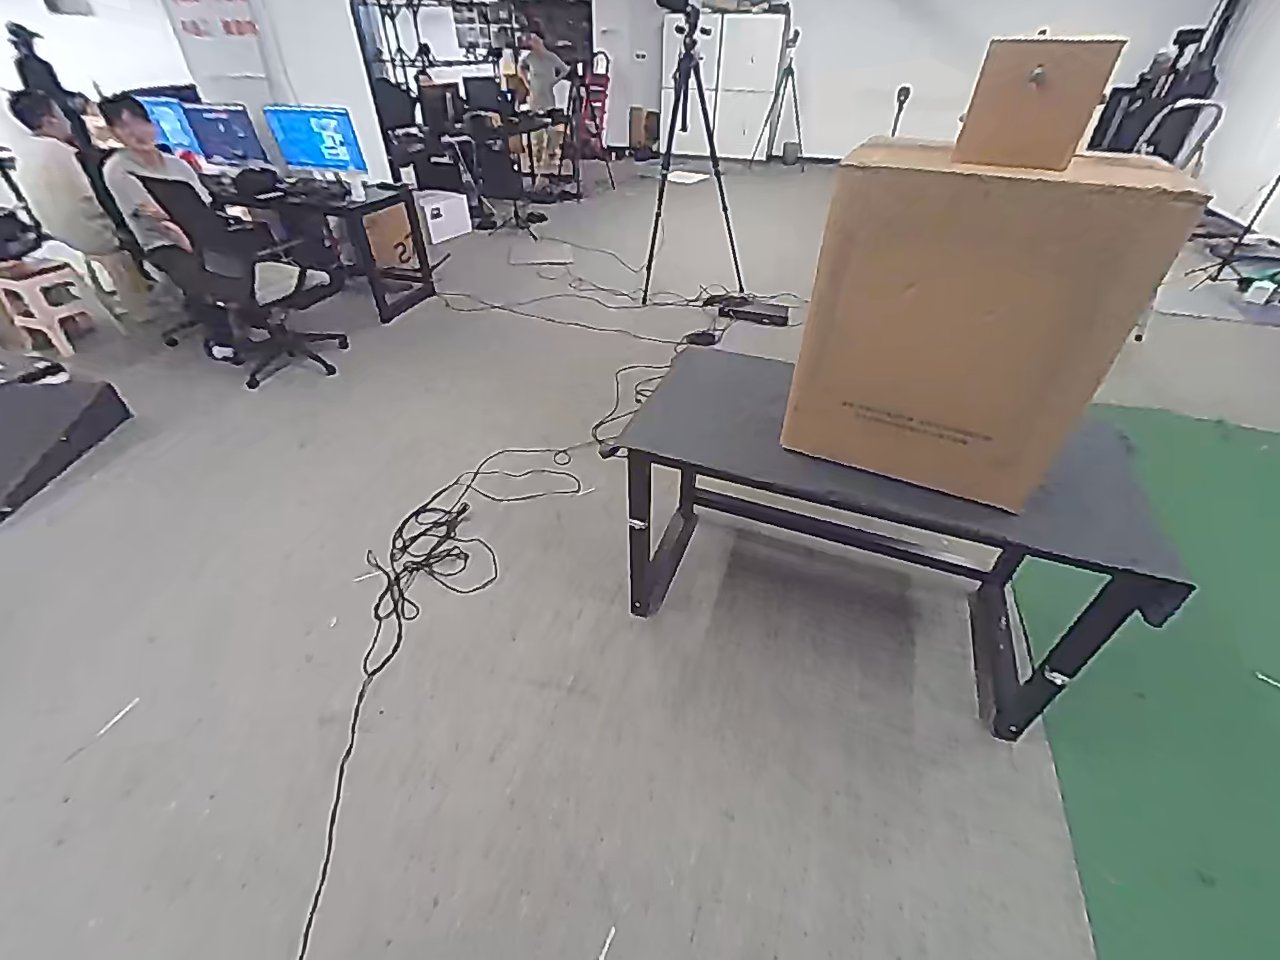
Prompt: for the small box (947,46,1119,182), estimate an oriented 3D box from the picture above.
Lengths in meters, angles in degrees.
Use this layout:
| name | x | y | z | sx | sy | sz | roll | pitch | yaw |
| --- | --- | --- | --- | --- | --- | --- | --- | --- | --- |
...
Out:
| name | x | y | z | sx | sy | sz | roll | pitch | yaw |
| --- | --- | --- | --- | --- | --- | --- | --- | --- | --- |
| small box | 0.646 | -0.611 | 0.904 | 0.179 | 0.176 | 0.168 | 19 | 44 | 22 |
